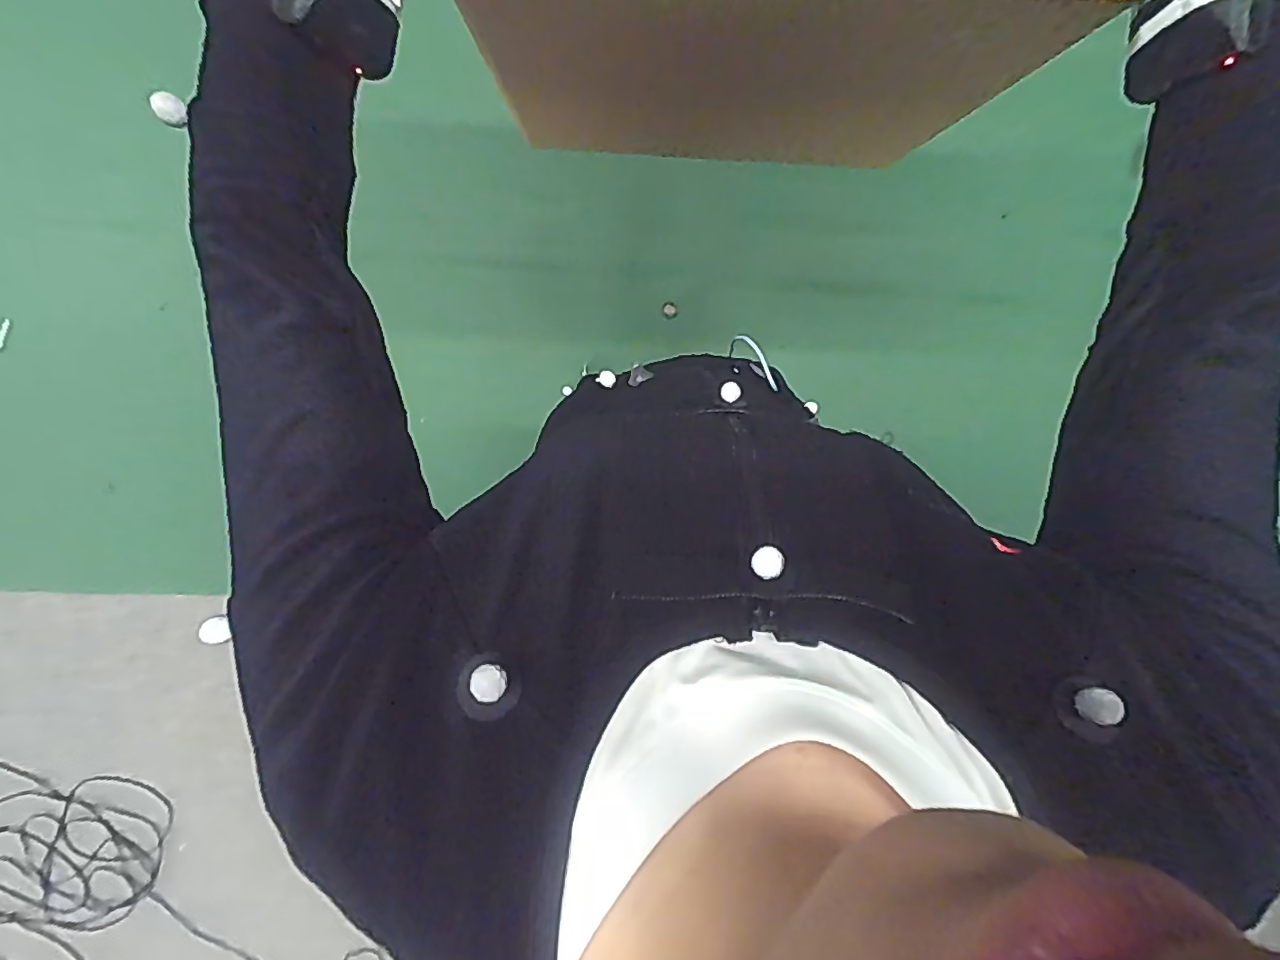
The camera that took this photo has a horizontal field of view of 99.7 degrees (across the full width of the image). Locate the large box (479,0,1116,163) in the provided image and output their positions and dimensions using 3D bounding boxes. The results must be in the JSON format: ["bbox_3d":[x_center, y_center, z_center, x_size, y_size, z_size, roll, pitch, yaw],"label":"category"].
[{"bbox_3d":[0.090,-0.470,0.421,0.408,0.320,0.320,1,104,-3],"label":"large box"}]
